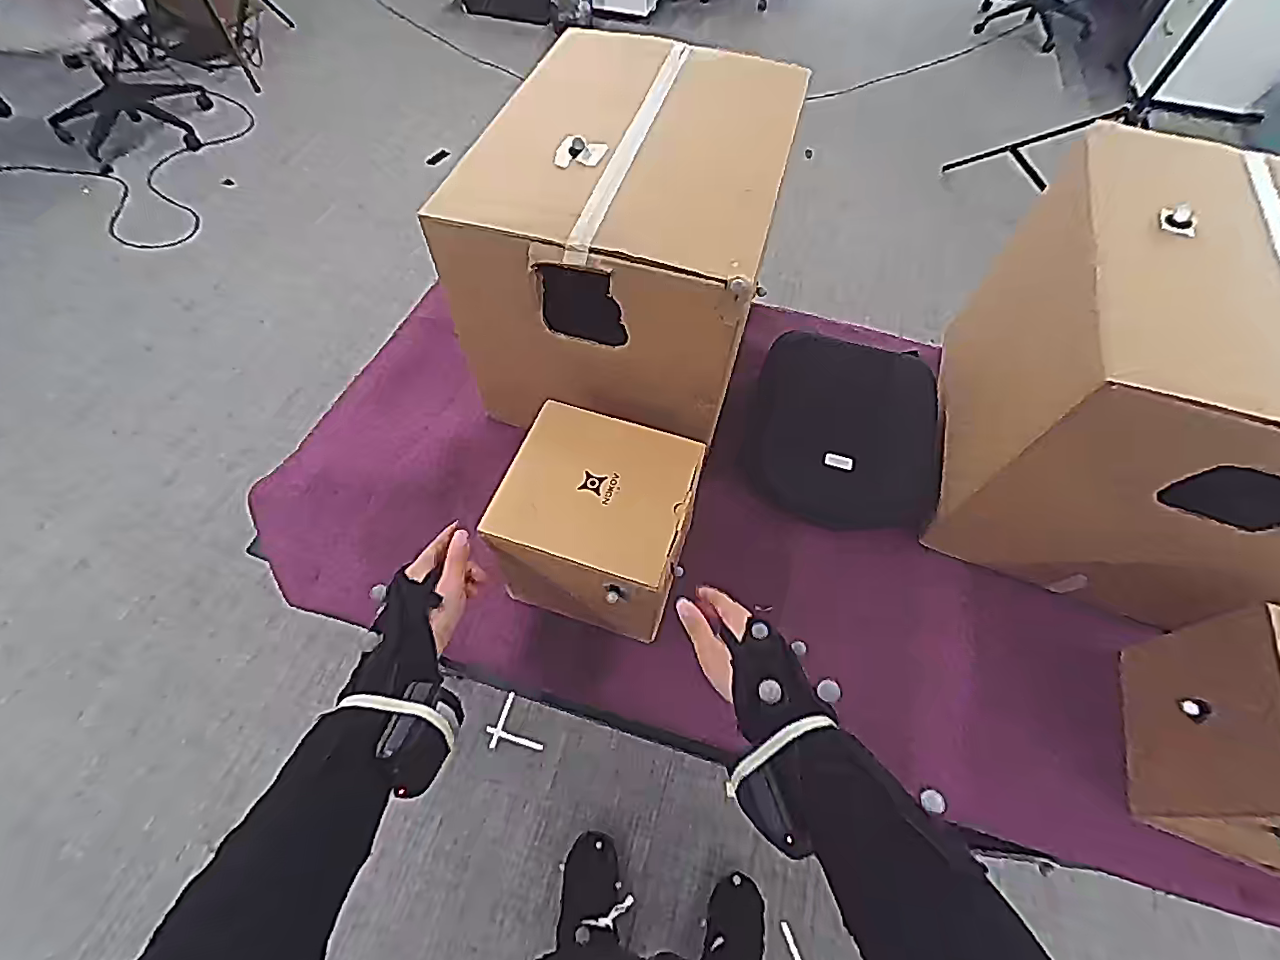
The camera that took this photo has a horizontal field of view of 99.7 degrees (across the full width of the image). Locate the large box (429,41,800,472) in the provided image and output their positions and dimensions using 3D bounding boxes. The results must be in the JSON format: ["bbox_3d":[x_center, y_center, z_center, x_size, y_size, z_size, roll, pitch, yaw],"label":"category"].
[{"bbox_3d":[-0.006,-0.281,0.708,0.320,0.320,0.408,14,62,7],"label":"large box"}]
